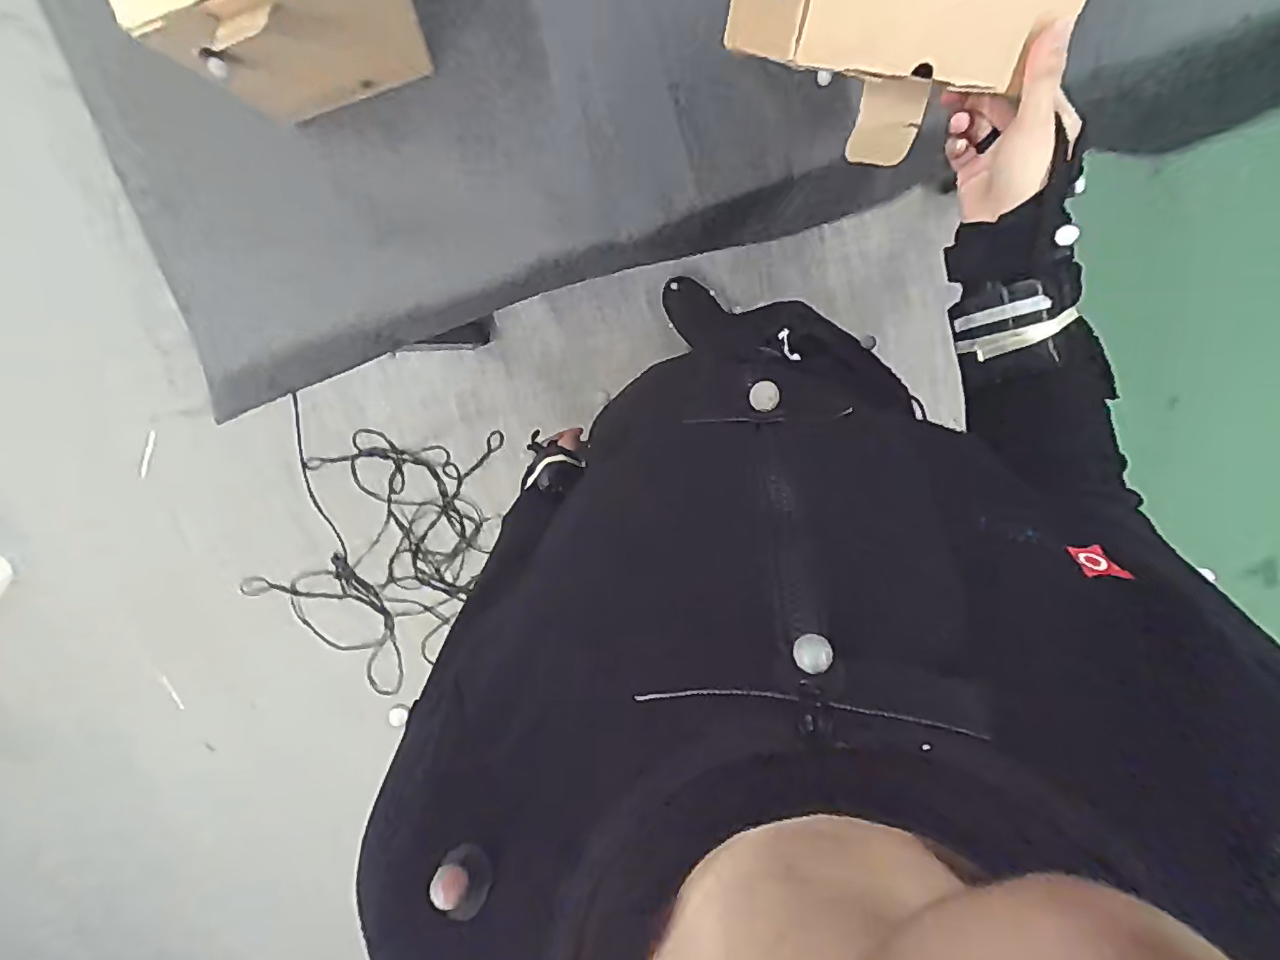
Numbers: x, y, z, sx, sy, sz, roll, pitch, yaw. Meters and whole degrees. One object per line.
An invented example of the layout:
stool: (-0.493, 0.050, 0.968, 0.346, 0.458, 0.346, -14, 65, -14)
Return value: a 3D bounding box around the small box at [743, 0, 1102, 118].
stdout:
small box: (0.175, -0.350, 0.330, 0.168, 0.176, 0.179, 1, 133, -10)
